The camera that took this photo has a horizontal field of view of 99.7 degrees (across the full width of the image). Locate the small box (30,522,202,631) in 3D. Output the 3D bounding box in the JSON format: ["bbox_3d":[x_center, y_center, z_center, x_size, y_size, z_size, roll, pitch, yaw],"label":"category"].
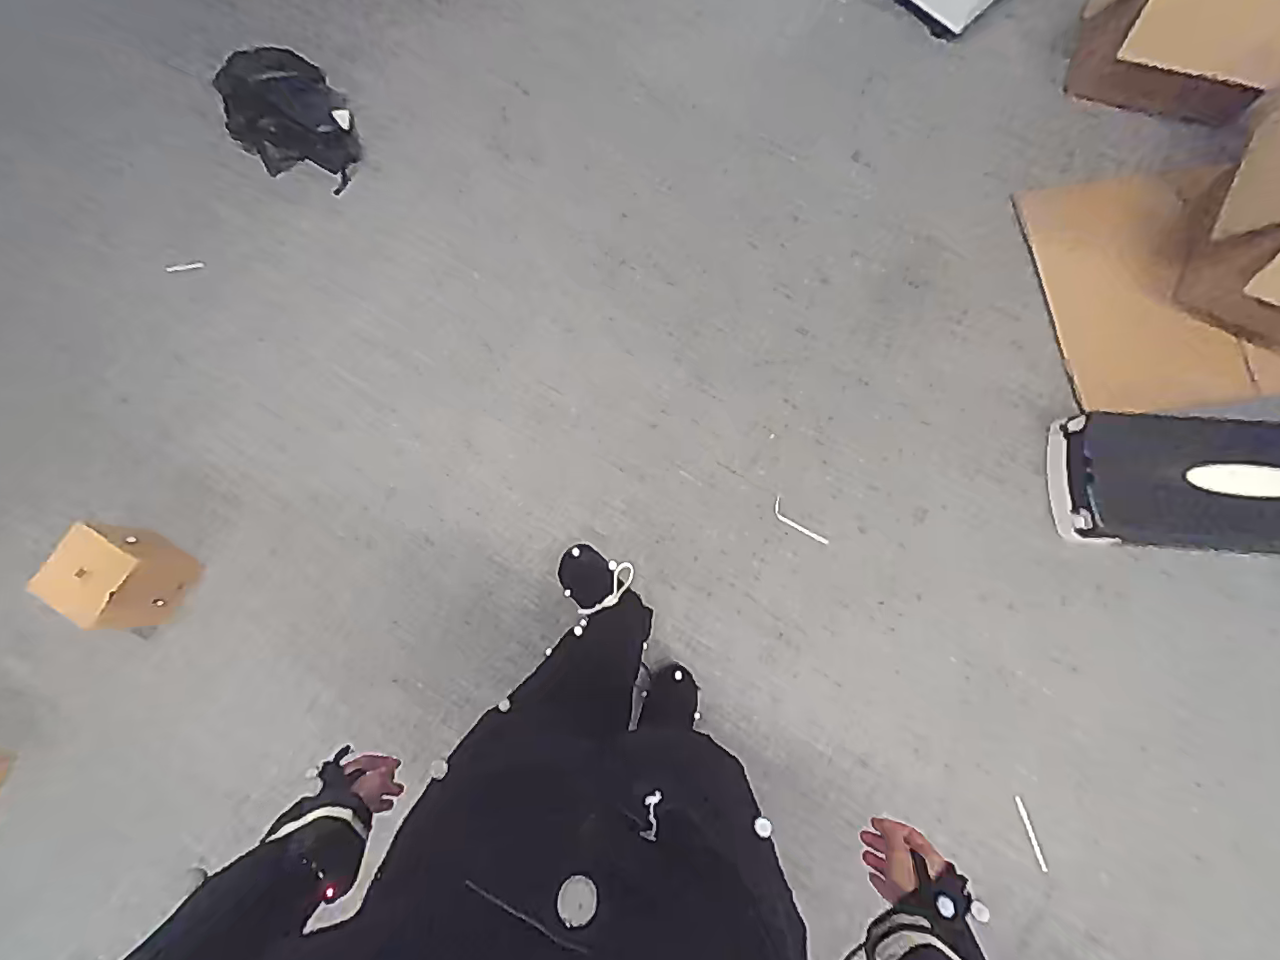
[{"bbox_3d":[-1.143,0.216,1.195,0.179,0.176,0.168,29,80,7],"label":"small box"}]
